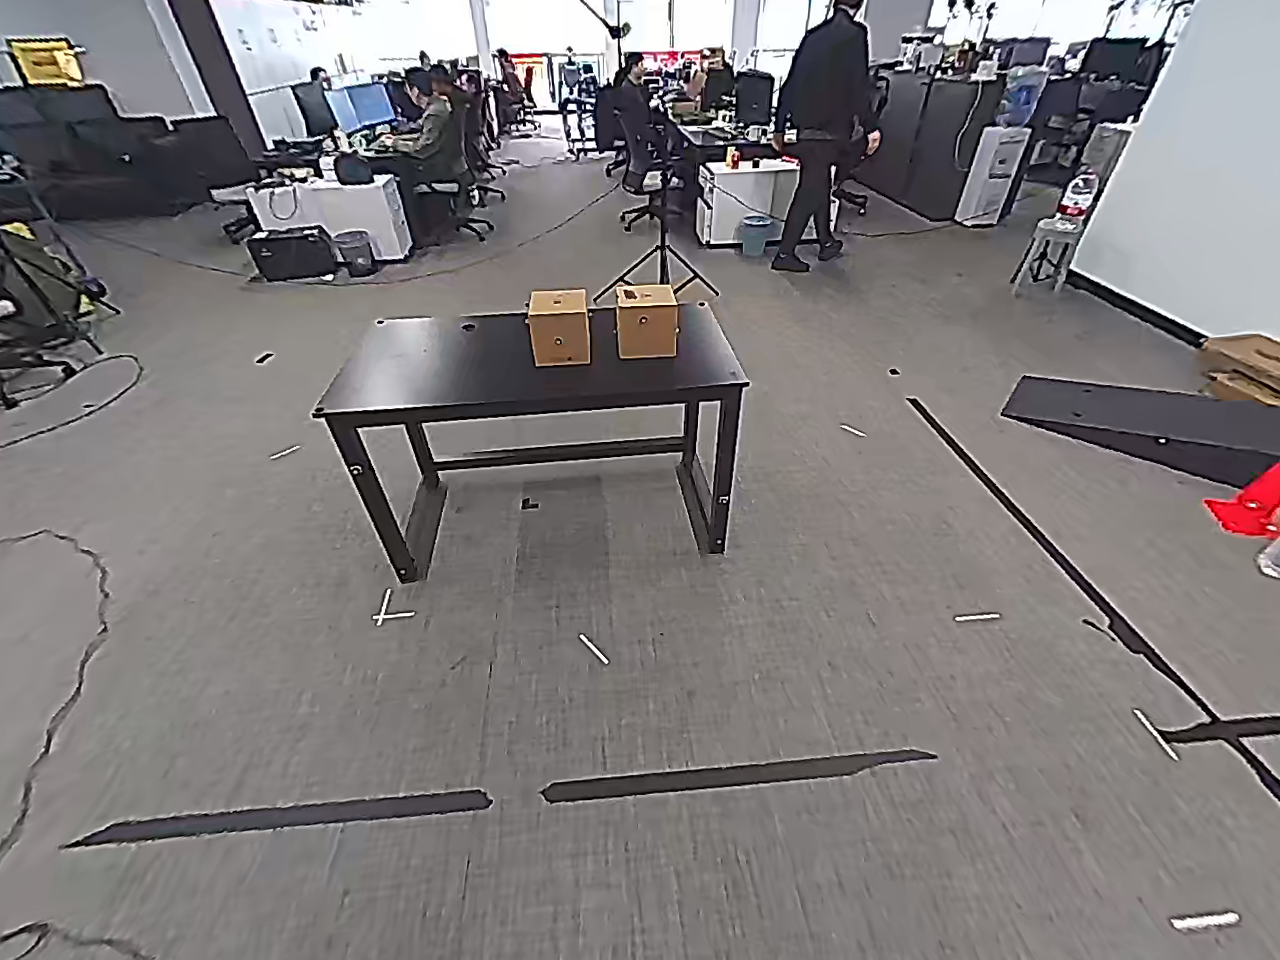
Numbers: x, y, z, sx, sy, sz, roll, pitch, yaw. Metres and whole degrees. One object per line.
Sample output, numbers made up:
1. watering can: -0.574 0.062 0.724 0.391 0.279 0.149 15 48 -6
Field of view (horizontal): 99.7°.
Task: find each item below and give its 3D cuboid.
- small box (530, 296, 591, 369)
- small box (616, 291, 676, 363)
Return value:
1. small box: -0.239 -0.451 1.671 0.168 0.176 0.179 -3 40 -3
2. small box: 0.019 -0.478 1.695 0.179 0.176 0.168 -3 39 -3
